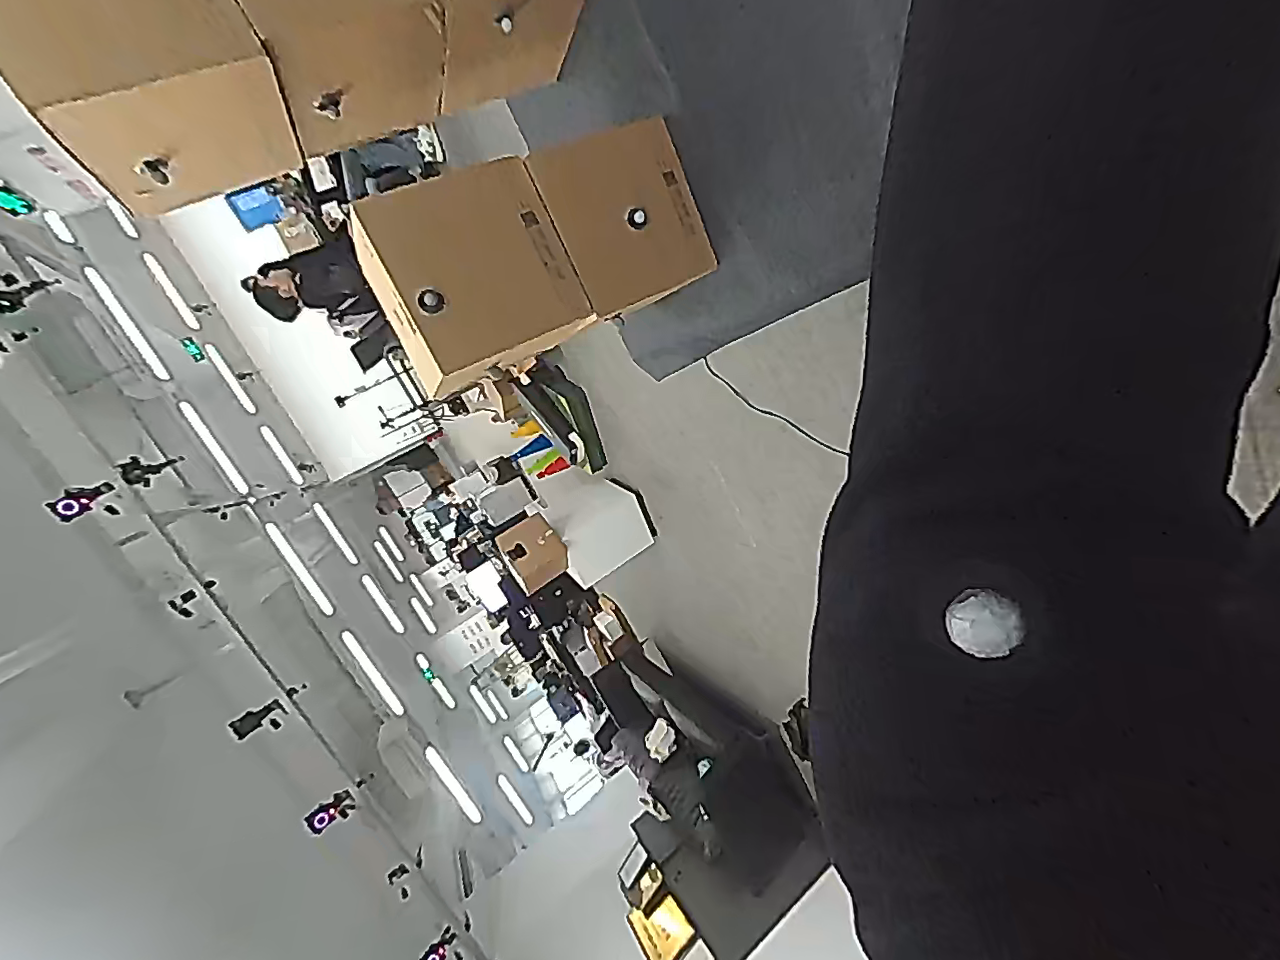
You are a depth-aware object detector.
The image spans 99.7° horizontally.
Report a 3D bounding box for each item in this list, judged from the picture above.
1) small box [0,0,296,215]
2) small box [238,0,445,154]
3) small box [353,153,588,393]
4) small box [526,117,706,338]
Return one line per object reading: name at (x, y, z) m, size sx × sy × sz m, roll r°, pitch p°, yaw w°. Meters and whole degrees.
small box at (-0.428, -0.366, 0.460) m, size 0.168 × 0.176 × 0.179 m, roll 59°, pitch 159°, yaw -13°
small box at (-0.306, -0.461, 0.516) m, size 0.168 × 0.176 × 0.179 m, roll 58°, pitch 159°, yaw -11°
small box at (-0.177, -0.212, 0.584) m, size 0.168 × 0.176 × 0.179 m, roll 63°, pitch 160°, yaw -12°
small box at (-0.043, -0.288, 0.638) m, size 0.179 × 0.176 × 0.168 m, roll 9°, pitch 126°, yaw 64°
